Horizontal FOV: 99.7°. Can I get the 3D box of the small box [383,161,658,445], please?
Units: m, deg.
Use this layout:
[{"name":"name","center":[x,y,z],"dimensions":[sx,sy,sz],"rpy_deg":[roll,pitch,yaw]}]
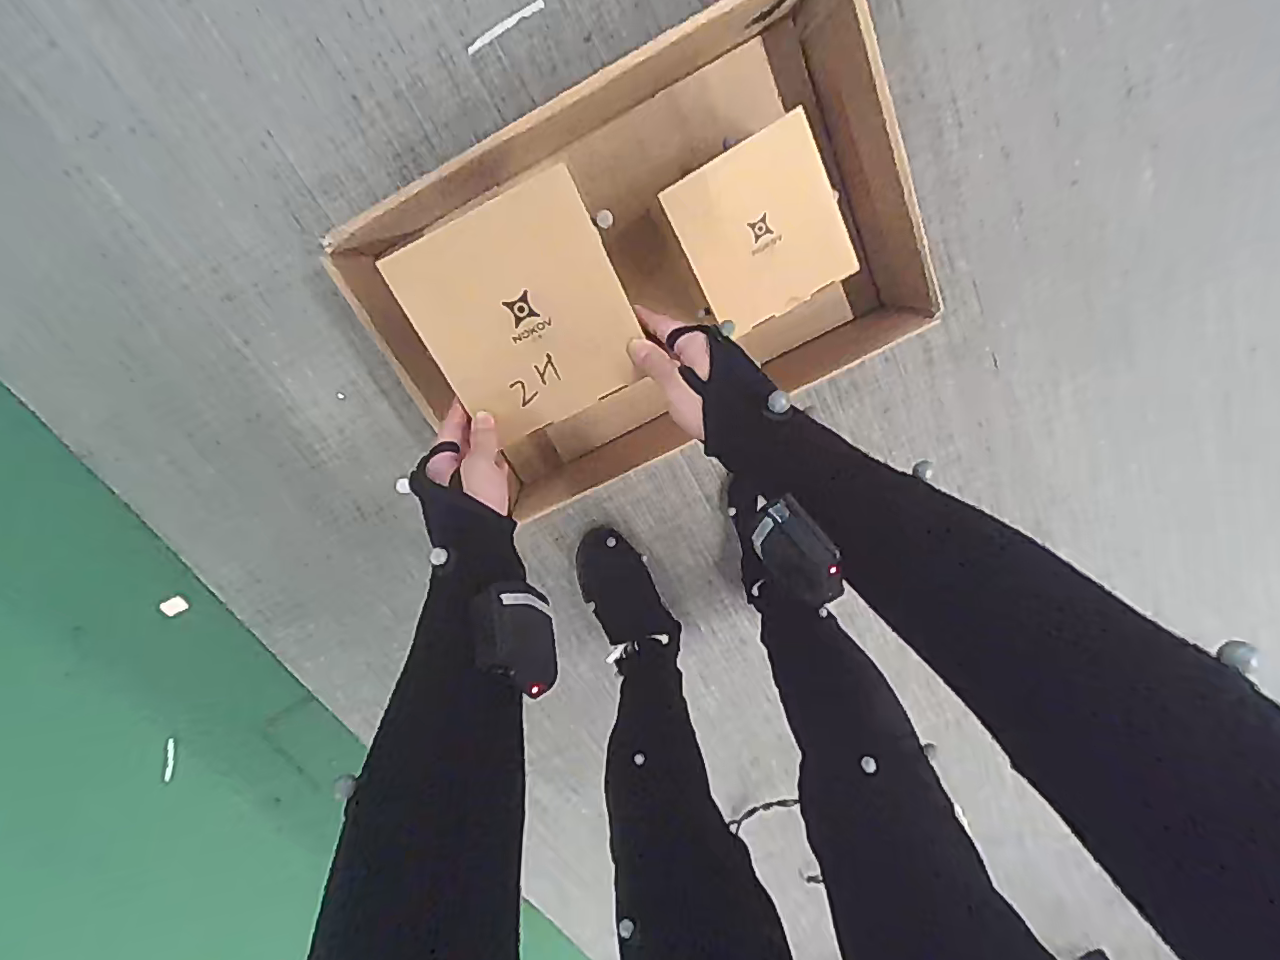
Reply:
[{"name":"small box","center":[-0.098,-0.163,0.514],"dimensions":[0.168,0.176,0.179],"rpy_deg":[-25,112,6]}]
